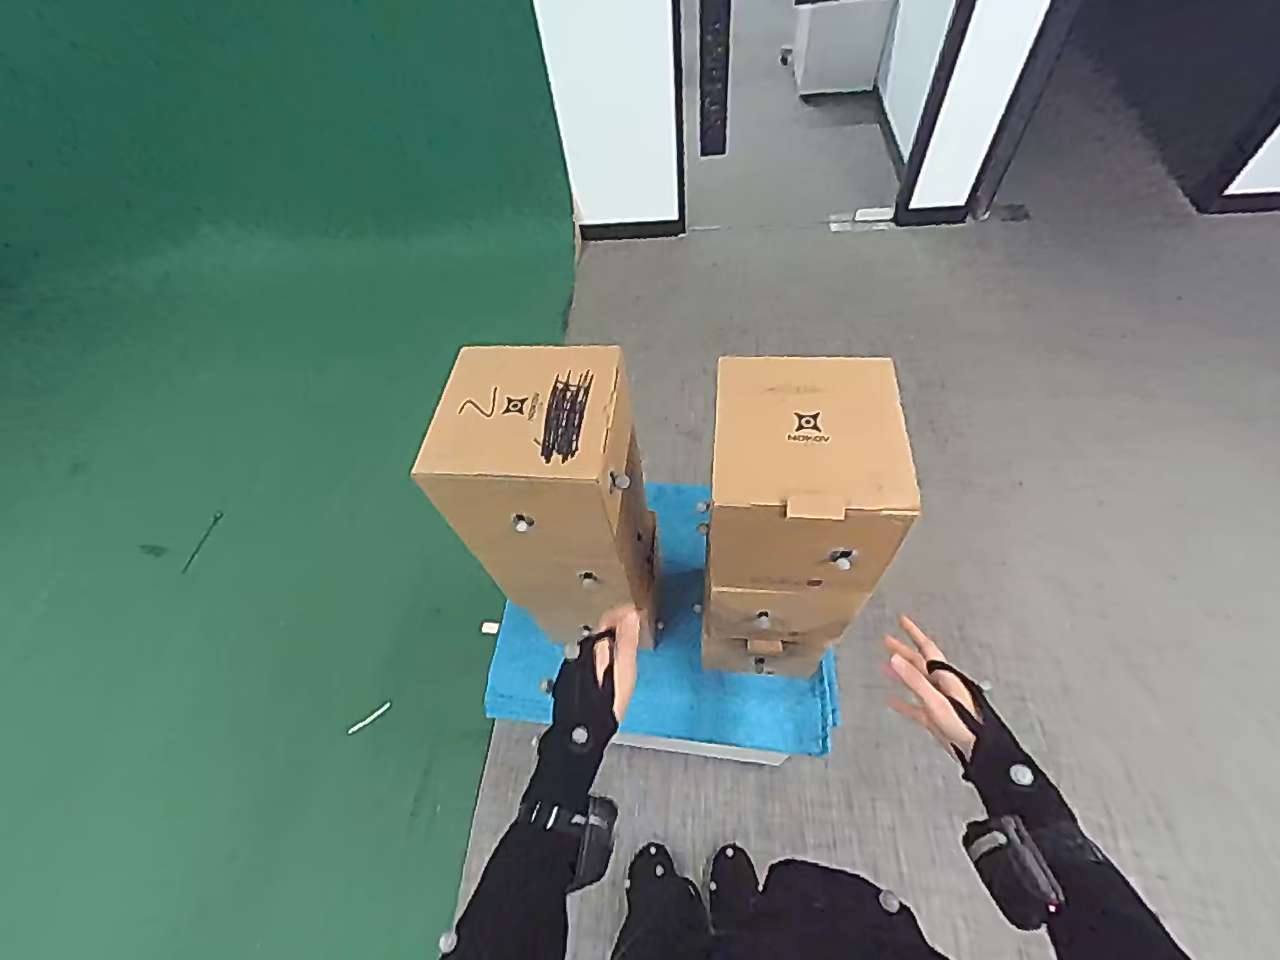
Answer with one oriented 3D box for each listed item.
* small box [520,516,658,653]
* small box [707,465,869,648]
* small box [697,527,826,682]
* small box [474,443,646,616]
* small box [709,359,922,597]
[{"bbox_3d":[-0.066,0.162,0.845,0.179,0.176,0.168,2,55,7],"label":"small box"},{"bbox_3d":[0.168,0.097,0.669,0.168,0.176,0.179,1,55,7],"label":"small box"},{"bbox_3d":[0.173,0.189,0.803,0.168,0.176,0.179,3,56,8],"label":"small box"},{"bbox_3d":[-0.088,0.070,0.711,0.179,0.176,0.168,2,55,7],"label":"small box"},{"bbox_3d":[0.155,0.002,0.537,0.168,0.176,0.179,3,54,8],"label":"small box"}]
